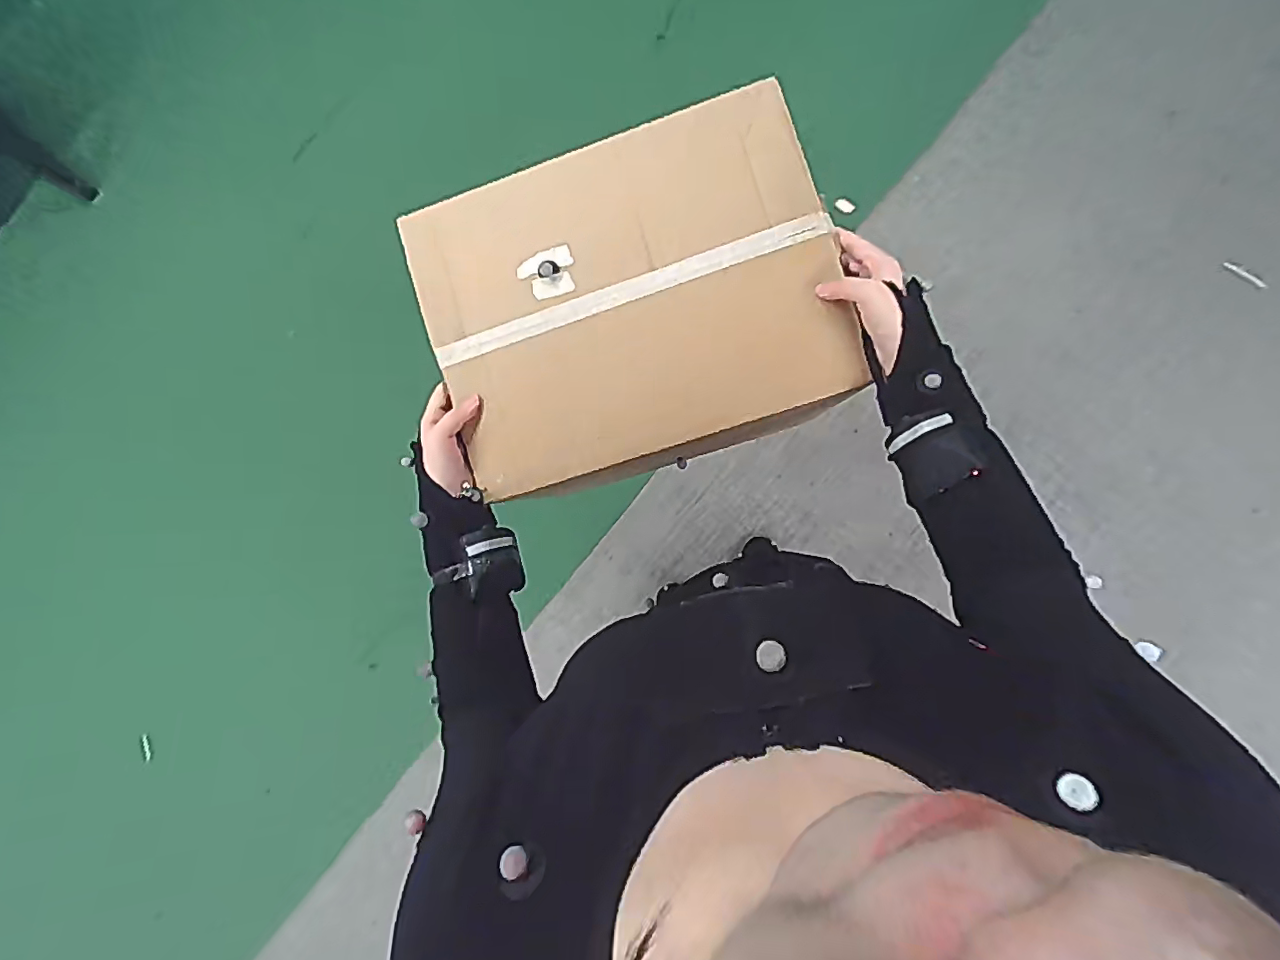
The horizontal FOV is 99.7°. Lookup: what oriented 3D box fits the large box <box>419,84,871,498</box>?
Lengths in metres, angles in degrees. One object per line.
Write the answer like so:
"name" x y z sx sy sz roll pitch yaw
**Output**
"large box" 0.013 -0.187 0.695 0.408 0.320 0.320 -17 87 7
